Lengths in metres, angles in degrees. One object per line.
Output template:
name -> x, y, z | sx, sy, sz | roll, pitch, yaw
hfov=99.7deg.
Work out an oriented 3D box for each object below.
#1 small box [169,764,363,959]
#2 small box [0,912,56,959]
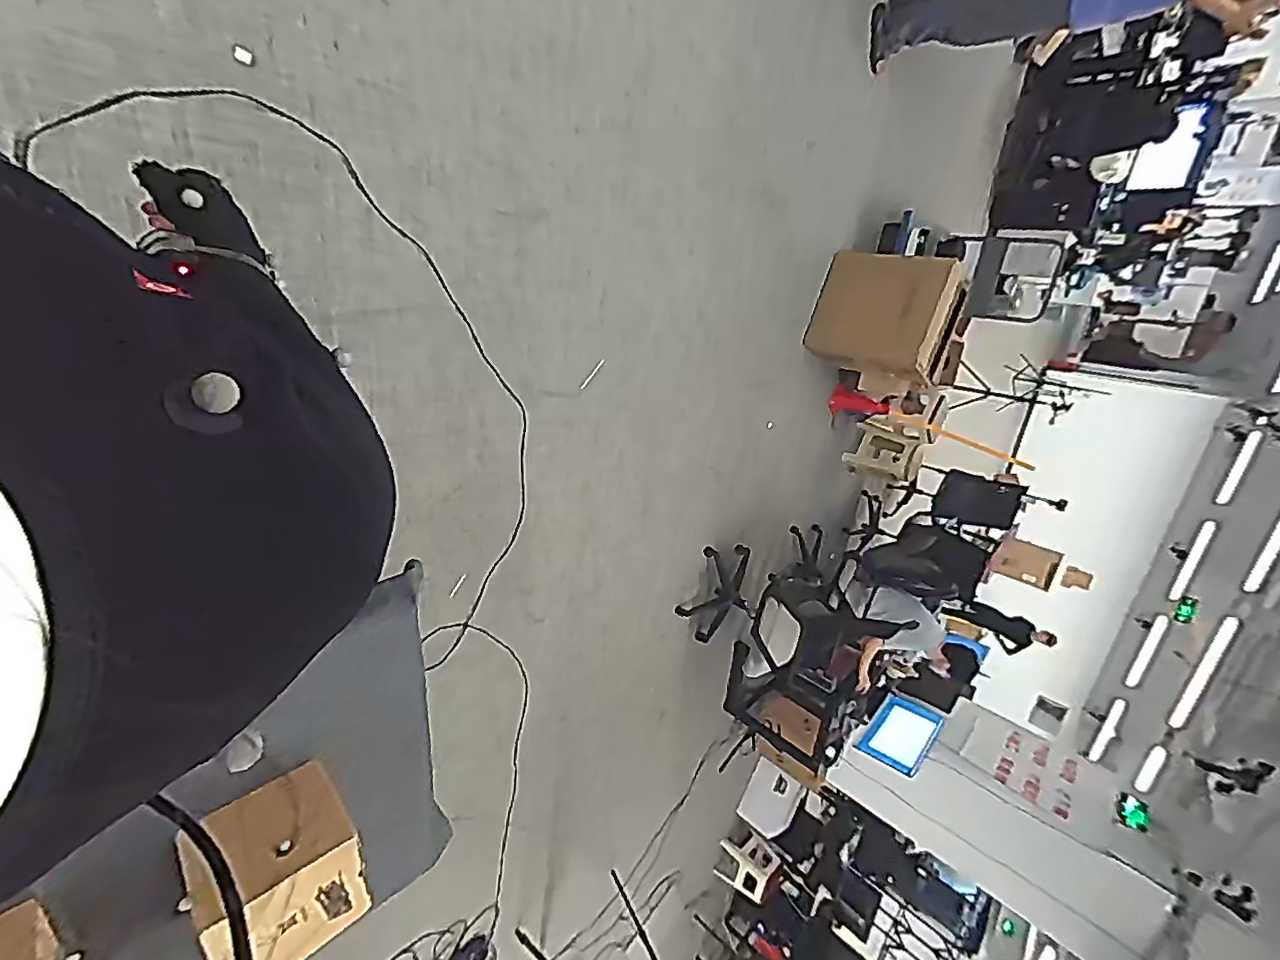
small box -> -0.521, 0.549, 0.762 | 0.179, 0.176, 0.168 | -18, 121, -43
small box -> -0.722, 0.604, 0.555 | 0.168, 0.176, 0.179 | -16, 119, -45
